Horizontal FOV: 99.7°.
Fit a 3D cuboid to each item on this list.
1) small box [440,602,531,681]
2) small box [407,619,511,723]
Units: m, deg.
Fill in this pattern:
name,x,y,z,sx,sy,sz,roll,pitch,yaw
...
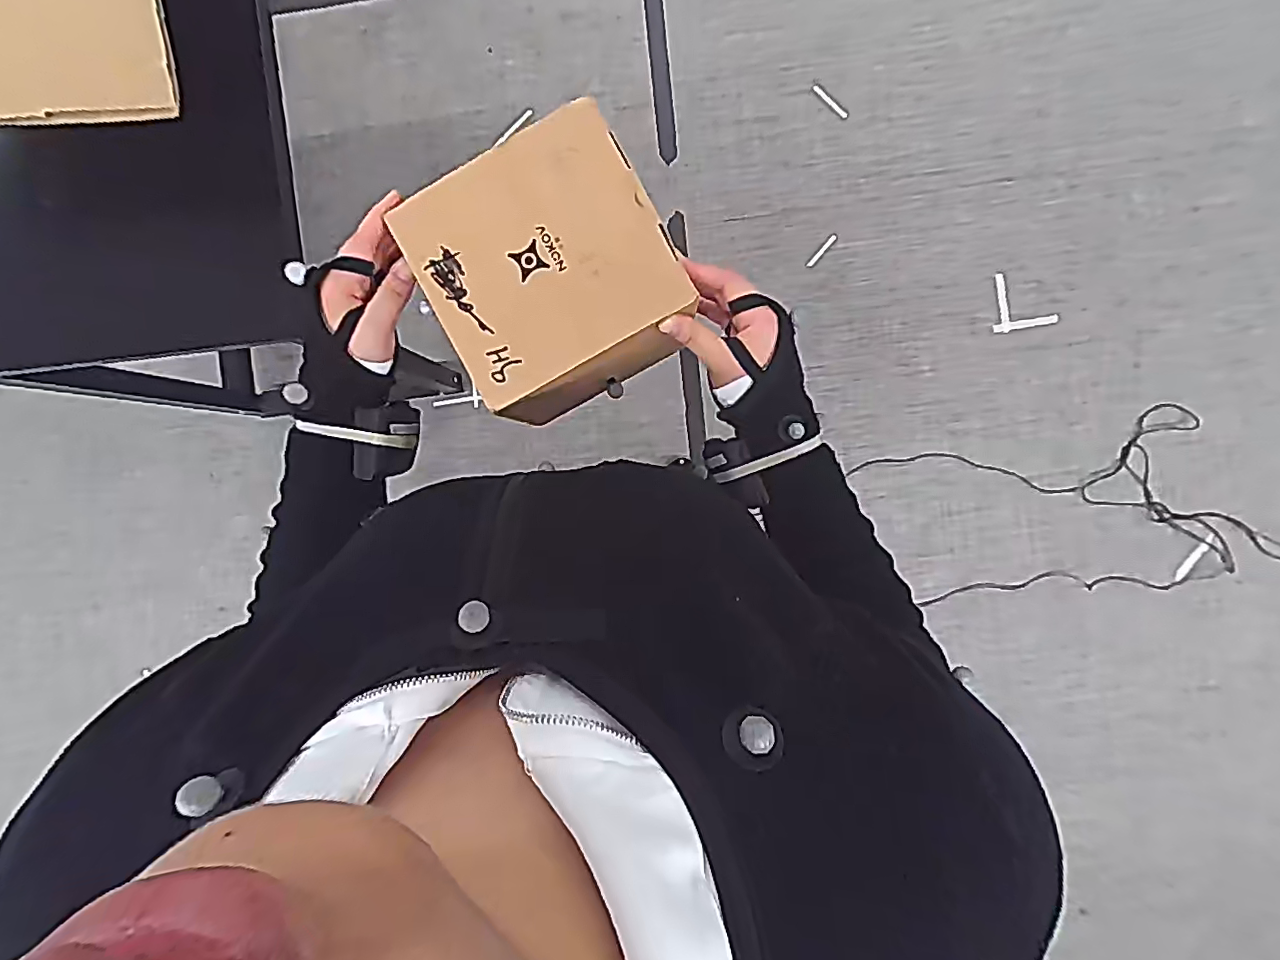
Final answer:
name,x,y,z,sx,sy,sz,roll,pitch,yaw
small box,-0.407,0.437,1.446,0.179,0.176,0.168,-11,92,1
small box,-0.417,0.444,1.283,0.179,0.176,0.168,-13,91,3
